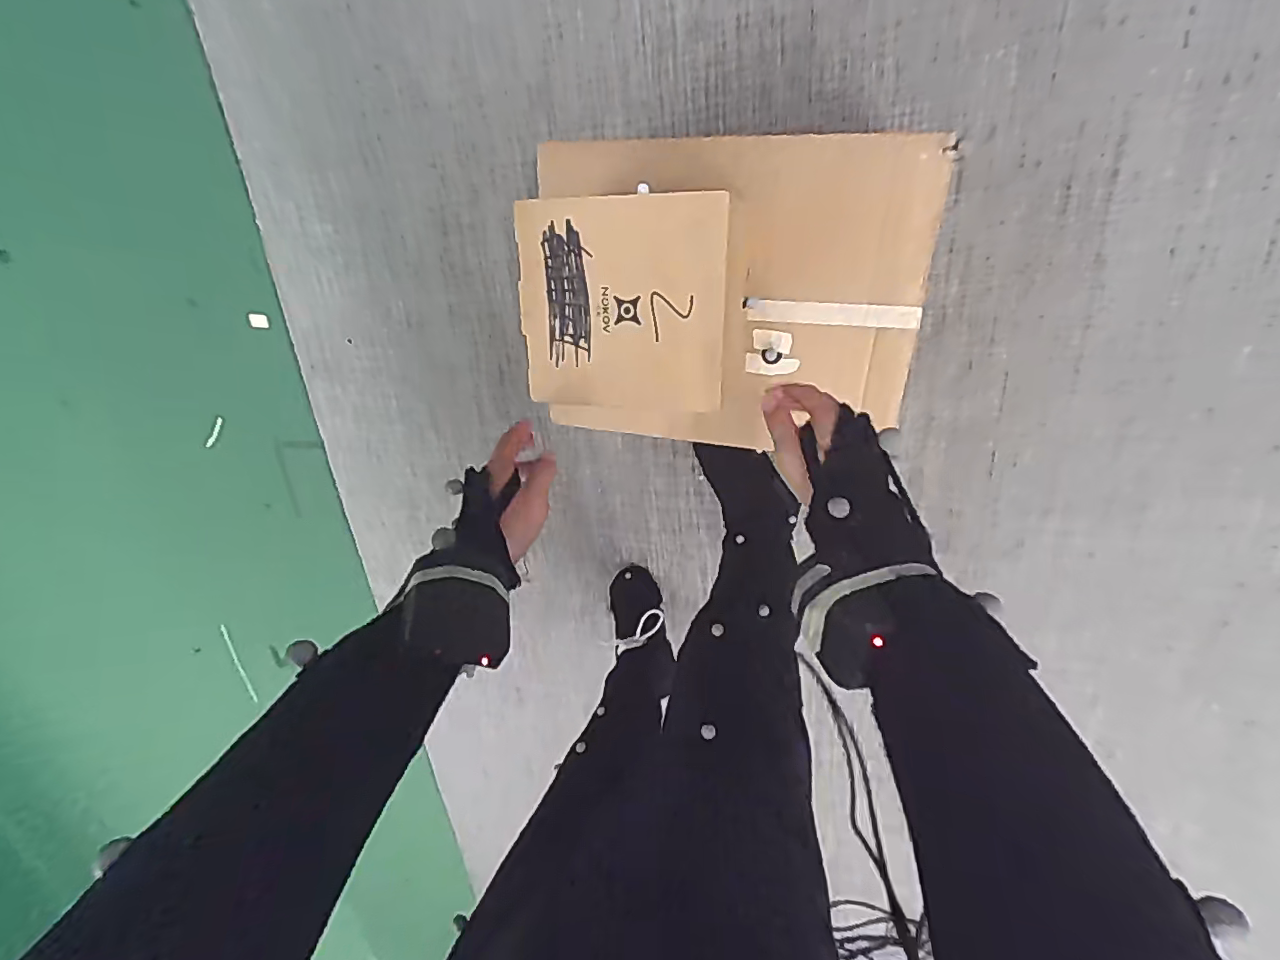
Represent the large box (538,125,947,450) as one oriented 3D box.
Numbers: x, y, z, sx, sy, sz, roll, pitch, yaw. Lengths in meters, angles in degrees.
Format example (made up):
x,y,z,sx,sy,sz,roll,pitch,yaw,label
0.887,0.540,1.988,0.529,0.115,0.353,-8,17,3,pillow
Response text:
x,y,z,sx,sy,sz,roll,pitch,yaw,label
0.121,-0.248,0.715,0.408,0.320,0.320,7,115,15,large box
